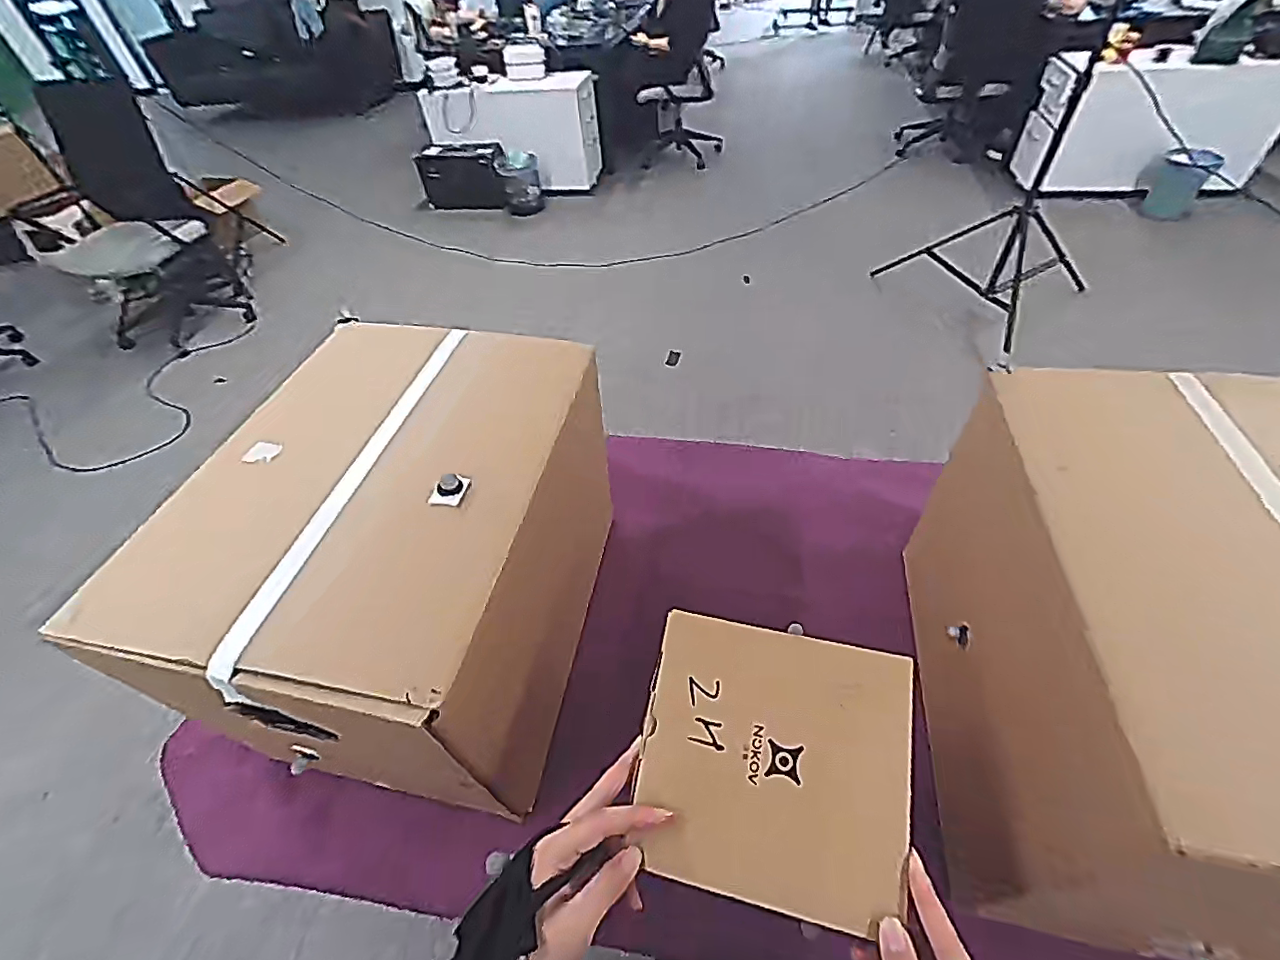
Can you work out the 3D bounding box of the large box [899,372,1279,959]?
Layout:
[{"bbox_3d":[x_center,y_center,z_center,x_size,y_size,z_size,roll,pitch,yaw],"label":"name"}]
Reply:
[{"bbox_3d":[0.456,0.153,0.480,0.320,0.320,0.408,6,47,10],"label":"large box"}]
